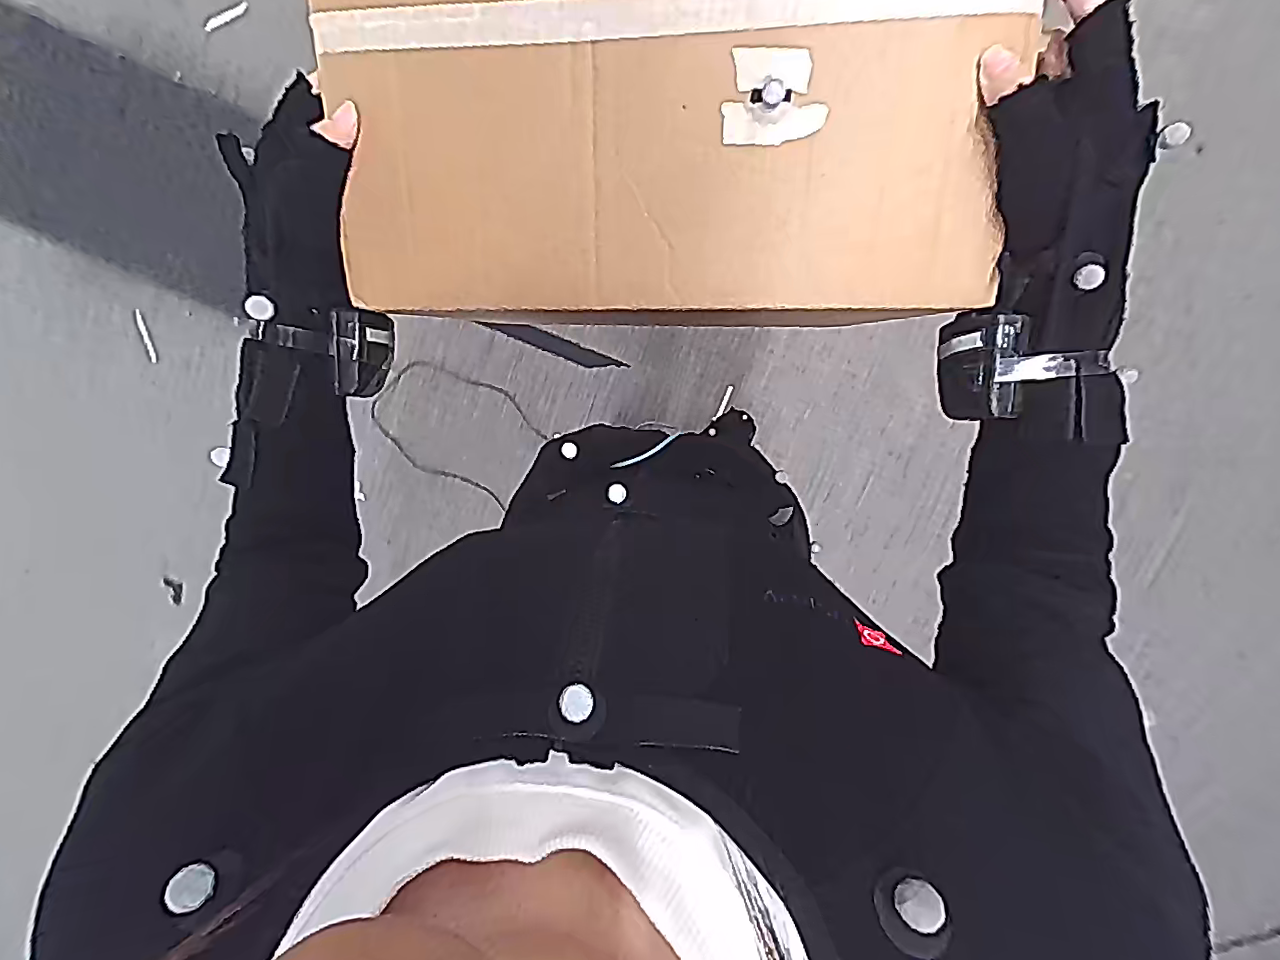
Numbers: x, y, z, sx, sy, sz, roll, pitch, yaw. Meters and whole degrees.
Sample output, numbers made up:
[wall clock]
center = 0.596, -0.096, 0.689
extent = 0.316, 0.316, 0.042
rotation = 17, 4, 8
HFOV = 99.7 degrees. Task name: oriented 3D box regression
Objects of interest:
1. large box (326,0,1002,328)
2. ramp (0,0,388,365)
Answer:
[large box]
center = 0.017, -0.302, 0.463
extent = 0.408, 0.320, 0.320
rotation = 0, 105, 5
[ramp]
center = -1.103, -0.718, 1.375
extent = 0.991, 0.206, 0.509
rotation = 23, 100, 2
